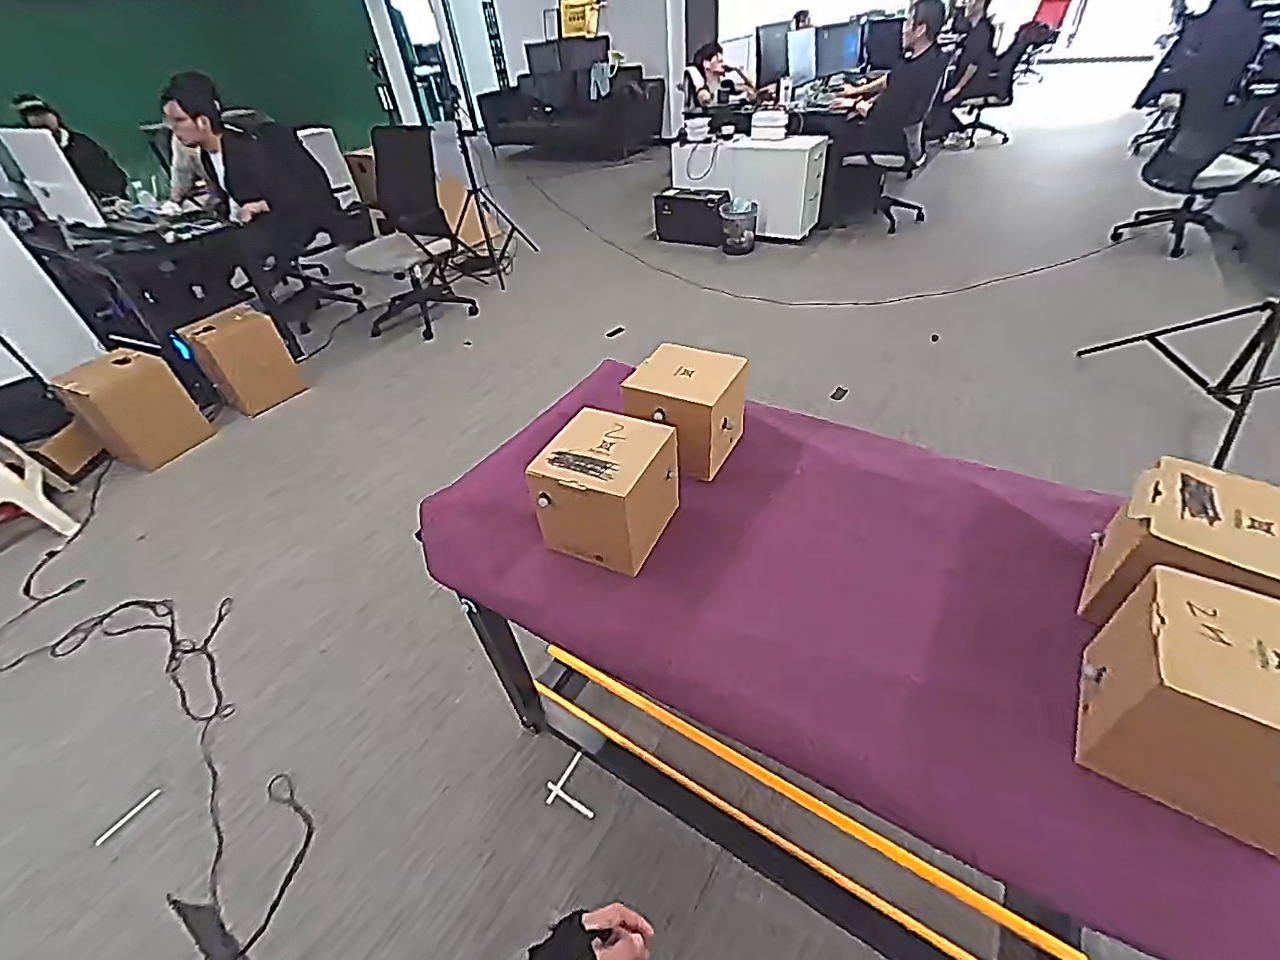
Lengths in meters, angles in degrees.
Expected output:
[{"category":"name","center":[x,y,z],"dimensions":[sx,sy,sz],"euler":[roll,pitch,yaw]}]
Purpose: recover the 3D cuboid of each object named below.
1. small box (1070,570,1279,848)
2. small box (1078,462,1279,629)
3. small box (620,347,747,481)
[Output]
[{"category":"small box","center":[0.579,0.229,0.544],"dimensions":[0.179,0.176,0.168],"euler":[21,46,28]},{"category":"small box","center":[0.686,0.112,0.666],"dimensions":[0.179,0.176,0.168],"euler":[26,52,30]},{"category":"small box","center":[0.085,-0.121,1.004],"dimensions":[0.179,0.176,0.168],"euler":[17,46,24]}]
